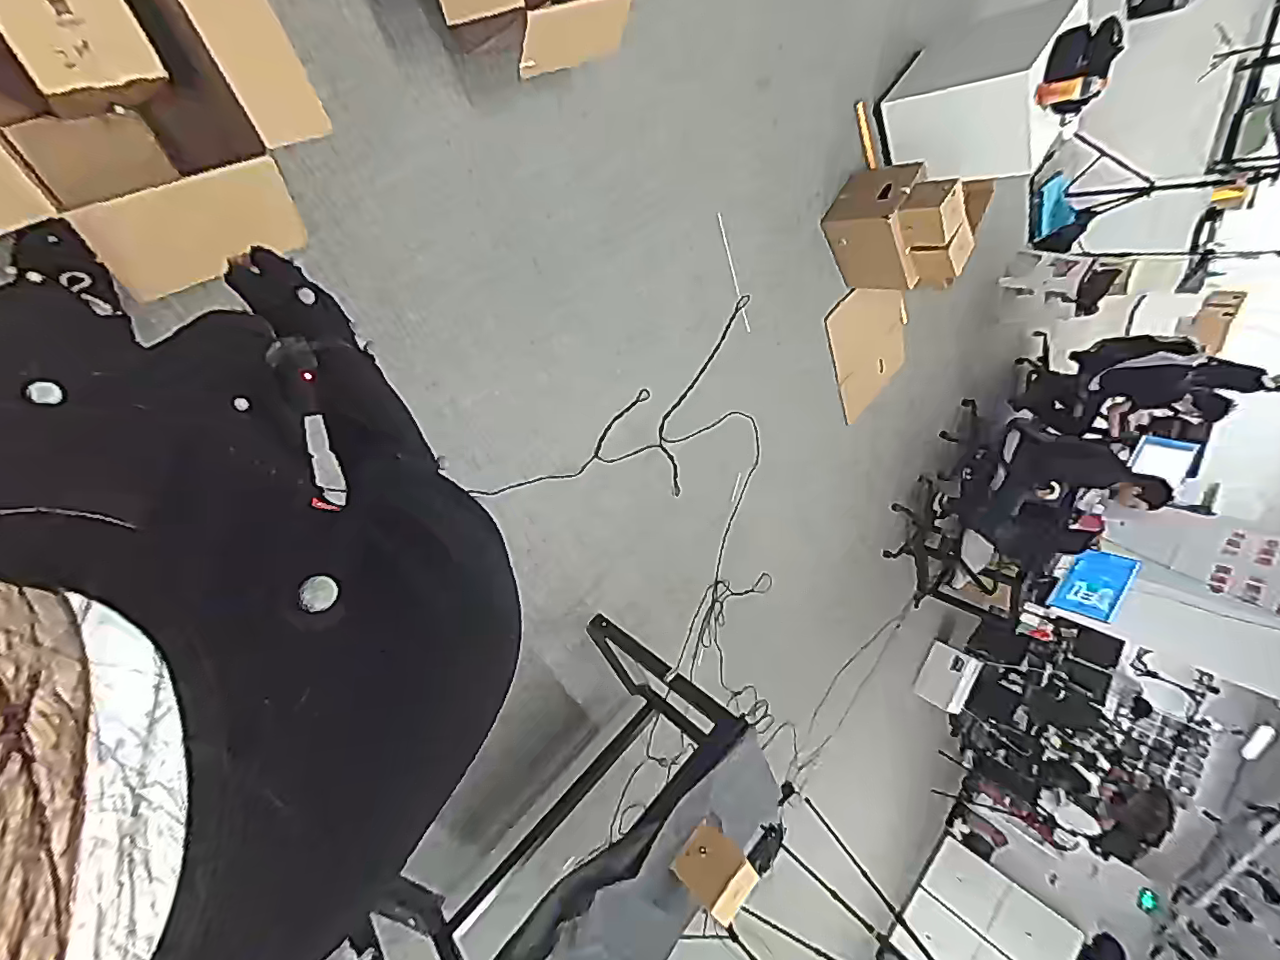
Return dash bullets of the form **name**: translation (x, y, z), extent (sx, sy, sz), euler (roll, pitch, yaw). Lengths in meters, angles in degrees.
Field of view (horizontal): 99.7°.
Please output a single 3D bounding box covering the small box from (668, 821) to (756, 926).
- **small box**: translation (0.212, 1.157, 1.601), extent (0.168, 0.176, 0.179), euler (-42, 129, -22)
